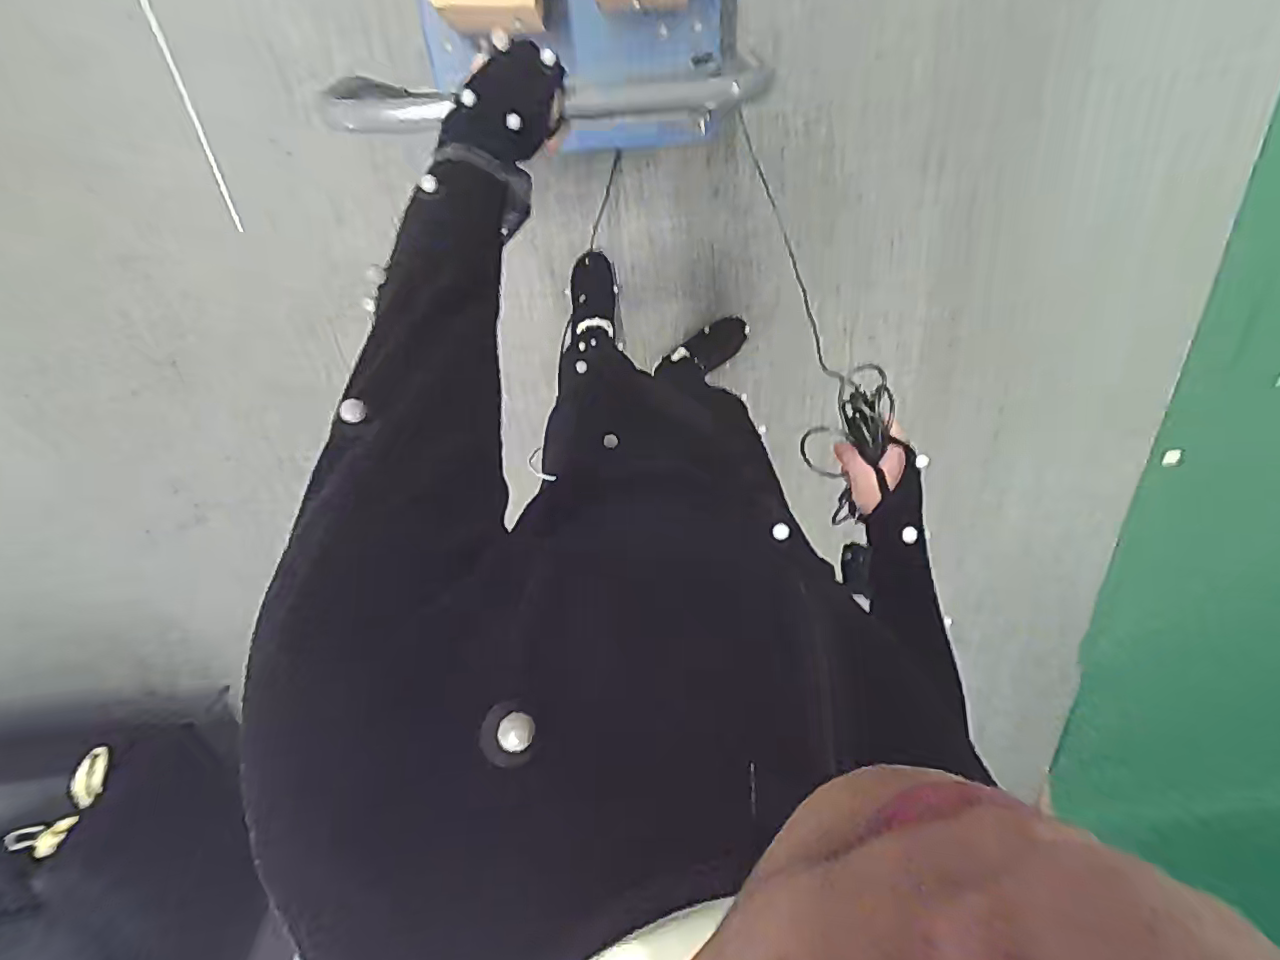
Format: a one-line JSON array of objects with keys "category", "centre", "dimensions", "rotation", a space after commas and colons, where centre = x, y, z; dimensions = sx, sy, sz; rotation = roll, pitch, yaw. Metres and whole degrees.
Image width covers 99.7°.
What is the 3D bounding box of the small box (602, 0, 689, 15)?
[{"category": "small box", "centre": [0.008, -0.935, 0.925], "dimensions": [0.168, 0.176, 0.179], "rotation": [-2, 118, 0]}]
